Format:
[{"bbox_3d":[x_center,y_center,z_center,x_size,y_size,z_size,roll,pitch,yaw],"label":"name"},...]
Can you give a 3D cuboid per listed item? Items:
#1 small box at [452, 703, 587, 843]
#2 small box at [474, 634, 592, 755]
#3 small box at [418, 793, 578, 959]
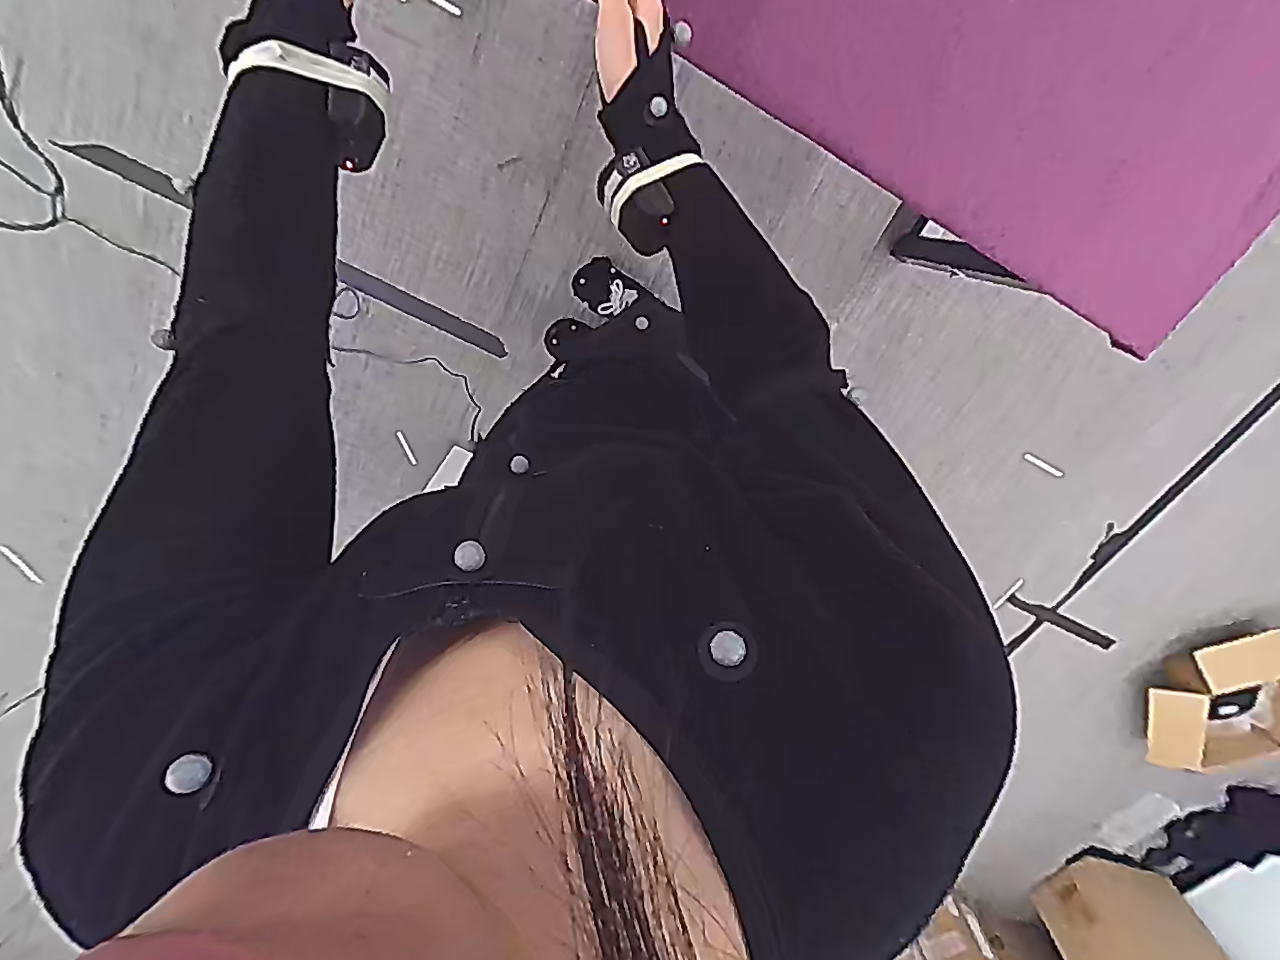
[{"bbox_3d":[-0.197,0.515,0.920,0.168,0.176,0.179,23,115,-14],"label":"small box"},{"bbox_3d":[-0.201,0.440,1.064,0.168,0.176,0.179,24,116,-15],"label":"small box"},{"bbox_3d":[-0.195,0.592,0.777,0.168,0.176,0.179,23,115,-14],"label":"small box"}]
